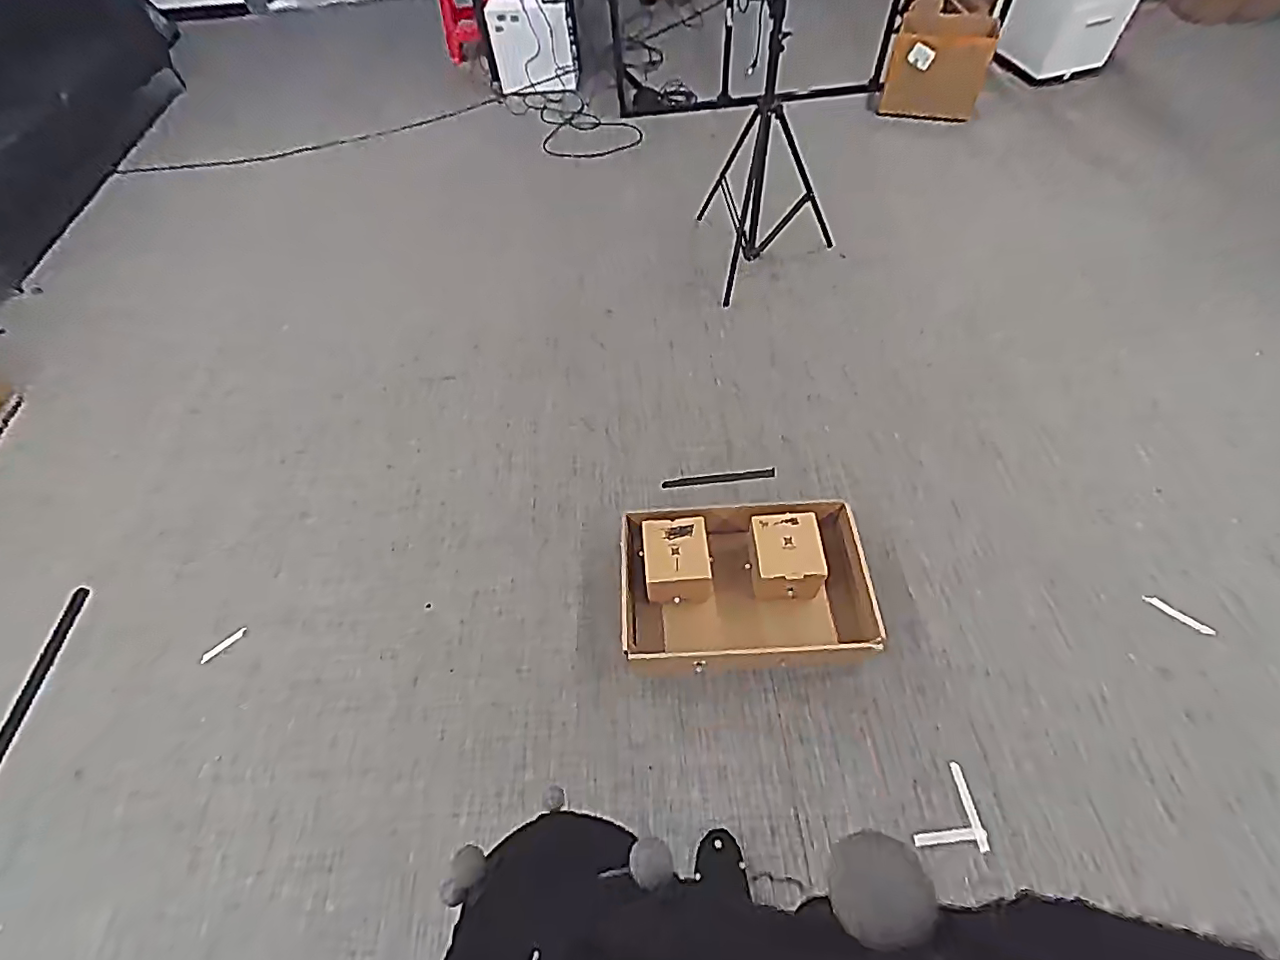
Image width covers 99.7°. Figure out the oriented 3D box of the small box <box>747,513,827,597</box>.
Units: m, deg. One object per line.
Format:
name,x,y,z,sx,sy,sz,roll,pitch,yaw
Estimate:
small box,0.381,0.206,1.433,0.168,0.176,0.179,-3,59,3
